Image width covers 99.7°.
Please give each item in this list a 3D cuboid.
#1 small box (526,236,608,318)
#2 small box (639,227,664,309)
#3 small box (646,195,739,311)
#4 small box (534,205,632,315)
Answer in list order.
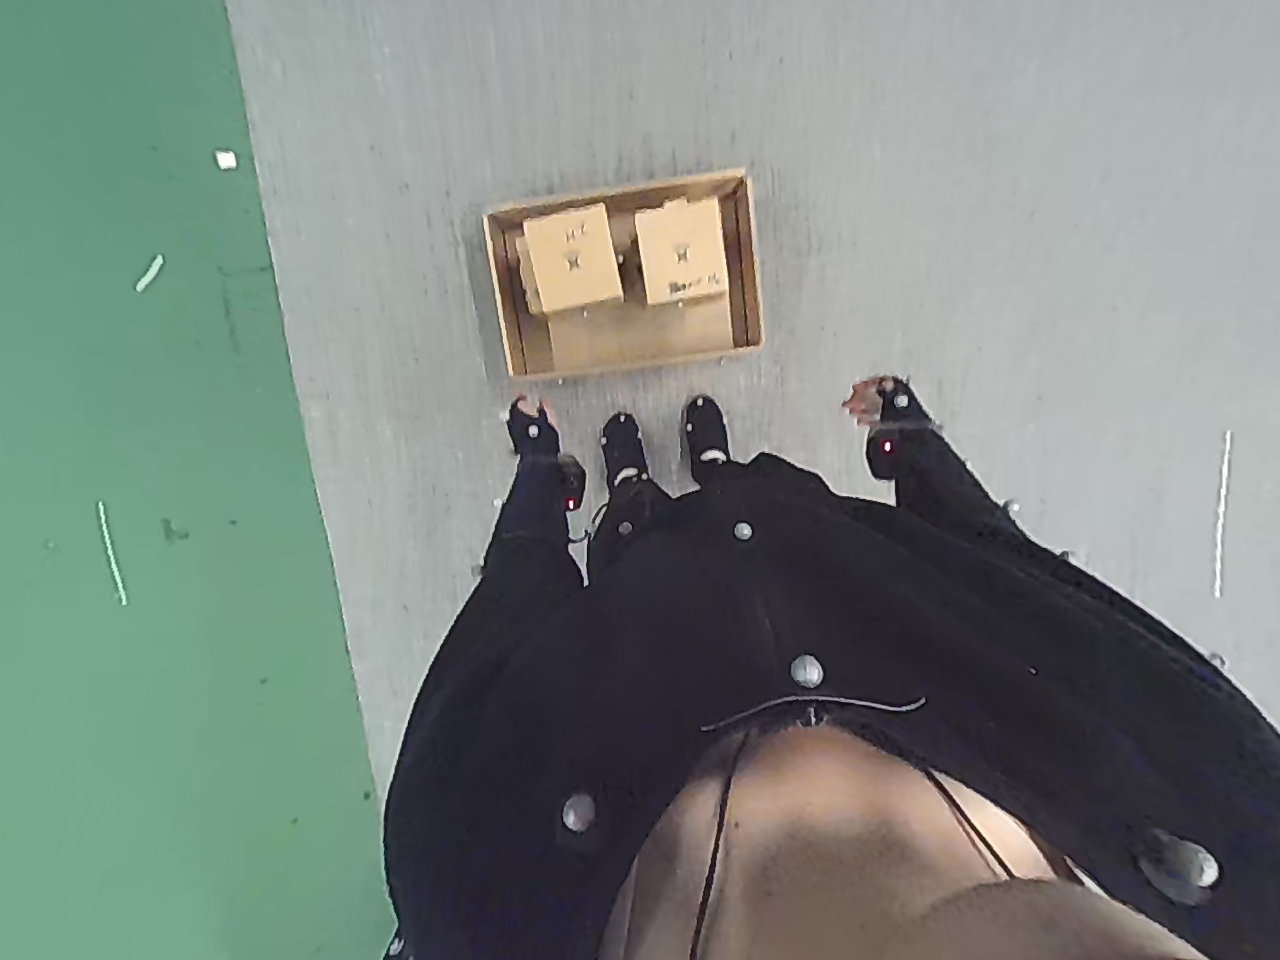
[{"bbox_3d":[-0.157,-0.496,1.308,0.179,0.176,0.168,-10,101,2],"label":"small box"},{"bbox_3d":[0.105,-0.517,1.292,0.179,0.176,0.168,-13,100,5],"label":"small box"},{"bbox_3d":[0.107,-0.465,1.135,0.168,0.176,0.179,-9,100,6],"label":"small box"},{"bbox_3d":[-0.112,-0.454,1.149,0.168,0.176,0.179,-12,101,2],"label":"small box"}]
